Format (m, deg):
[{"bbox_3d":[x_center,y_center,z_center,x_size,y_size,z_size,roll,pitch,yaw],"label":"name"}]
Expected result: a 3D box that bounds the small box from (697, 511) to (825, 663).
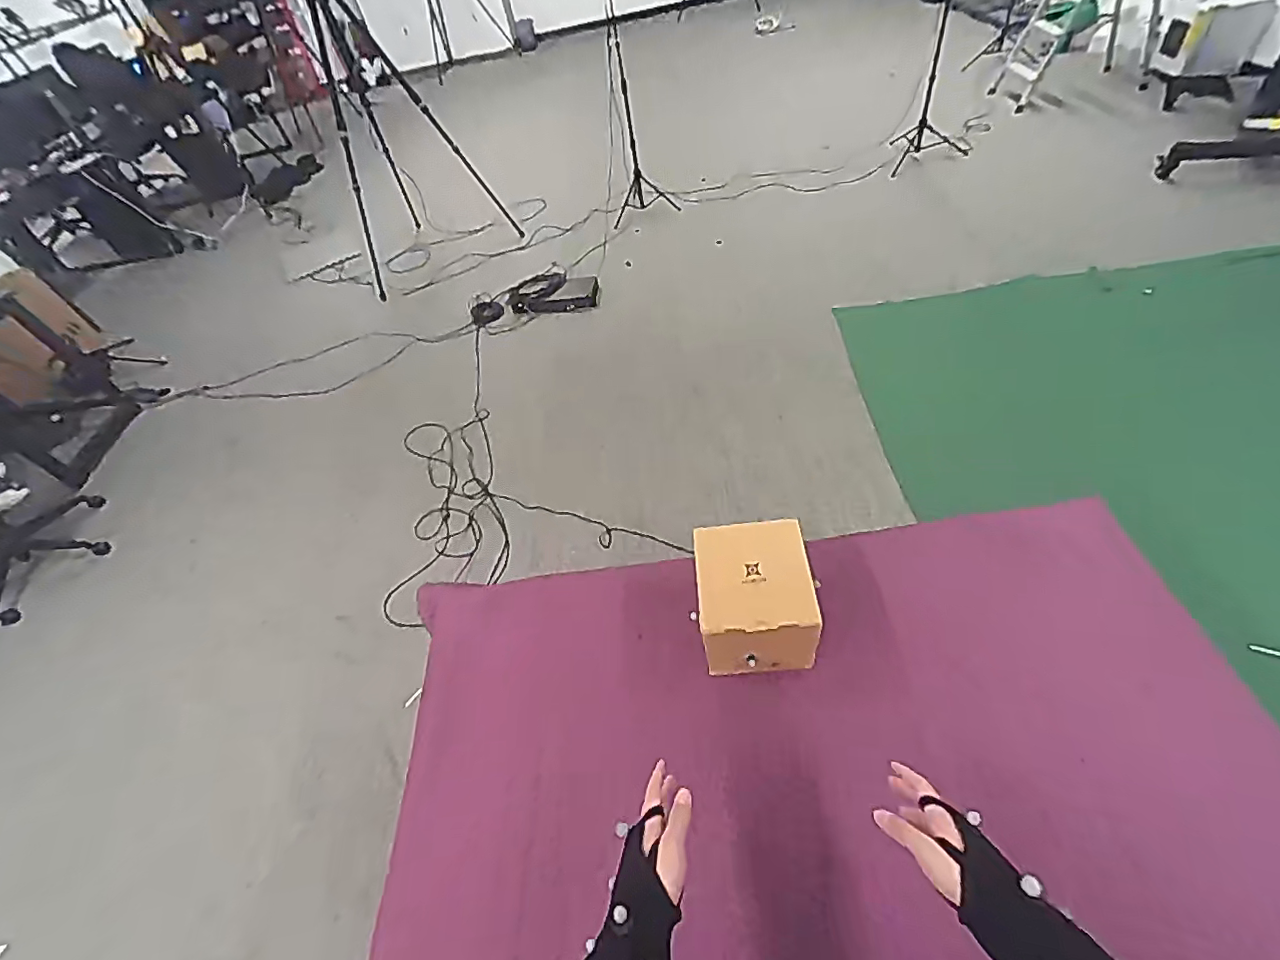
[{"bbox_3d":[0.180,0.171,0.850,0.168,0.176,0.179,-6,52,6],"label":"small box"}]
